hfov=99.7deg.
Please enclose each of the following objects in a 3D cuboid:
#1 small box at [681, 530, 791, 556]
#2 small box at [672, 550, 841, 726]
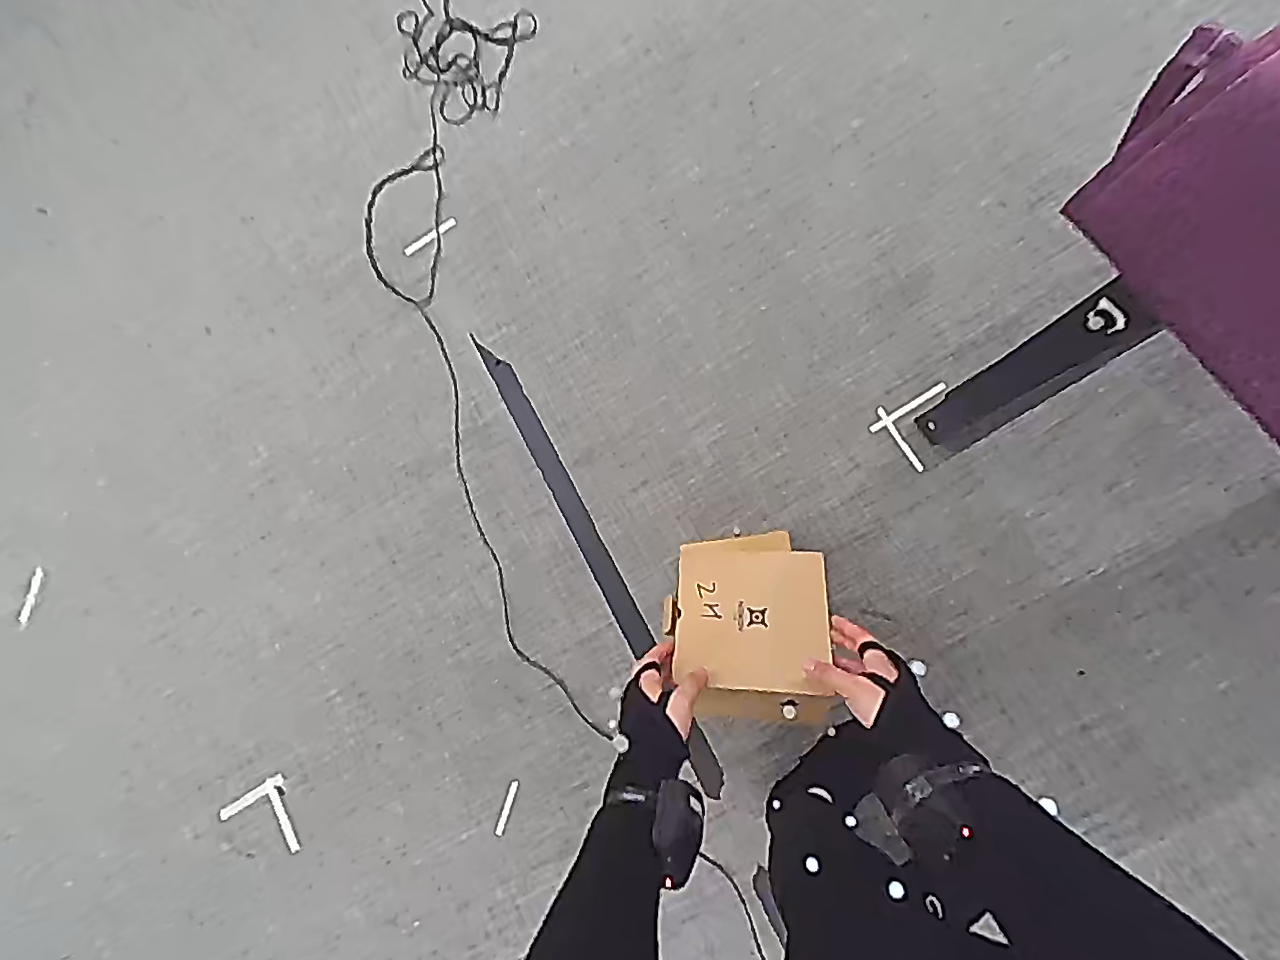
[{"bbox_3d":[0.177,0.181,0.936,0.179,0.176,0.168,-10,82,10],"label":"small box"},{"bbox_3d":[0.142,0.199,0.673,0.179,0.176,0.168,-2,54,13],"label":"small box"}]
